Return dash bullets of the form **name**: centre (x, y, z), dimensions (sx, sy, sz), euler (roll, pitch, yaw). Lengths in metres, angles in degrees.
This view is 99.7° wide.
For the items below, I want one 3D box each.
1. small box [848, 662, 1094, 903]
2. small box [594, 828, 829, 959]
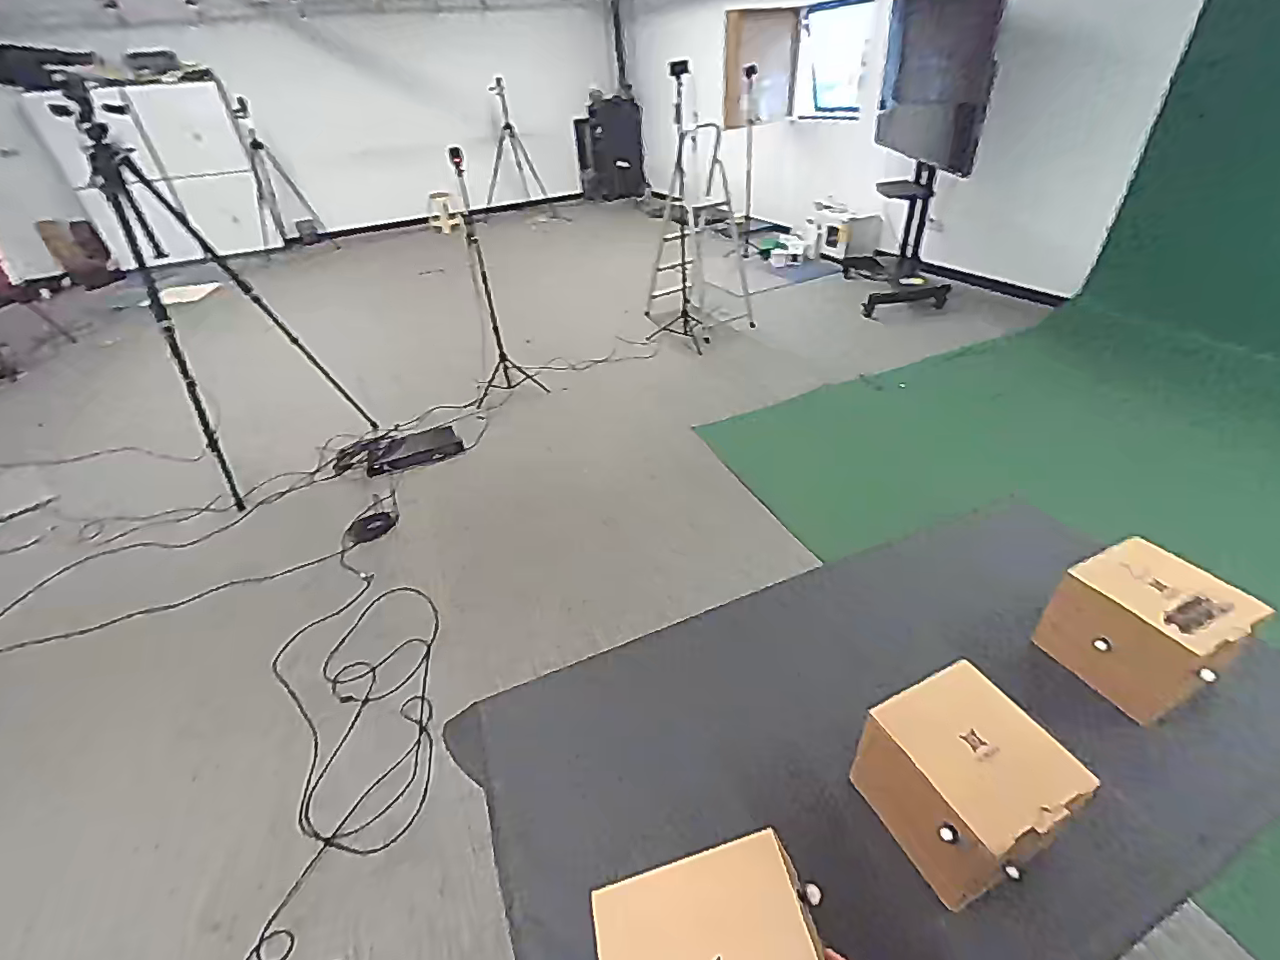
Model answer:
- **small box**: centre (0.388, 0.370, 0.672), dimensions (0.168, 0.176, 0.179), euler (-18, 39, -18)
- **small box**: centre (0.075, 0.424, 0.441), dimensions (0.168, 0.176, 0.179), euler (-21, 43, 3)
